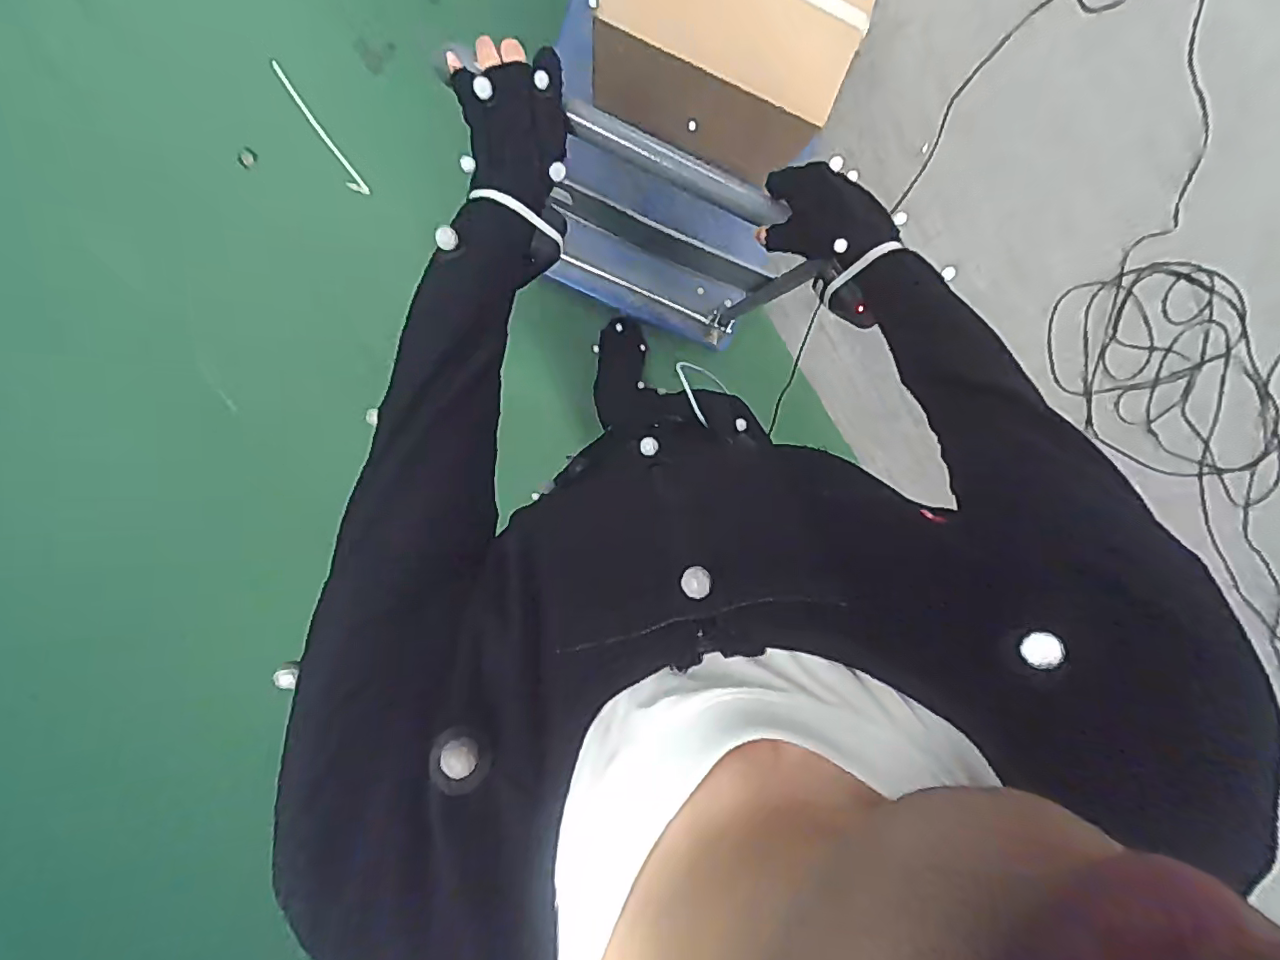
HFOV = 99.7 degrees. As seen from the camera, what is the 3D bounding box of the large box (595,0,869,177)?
[{"bbox_3d":[0.159,-0.825,0.983,0.408,0.320,0.320,20,100,-8],"label":"large box"}]
